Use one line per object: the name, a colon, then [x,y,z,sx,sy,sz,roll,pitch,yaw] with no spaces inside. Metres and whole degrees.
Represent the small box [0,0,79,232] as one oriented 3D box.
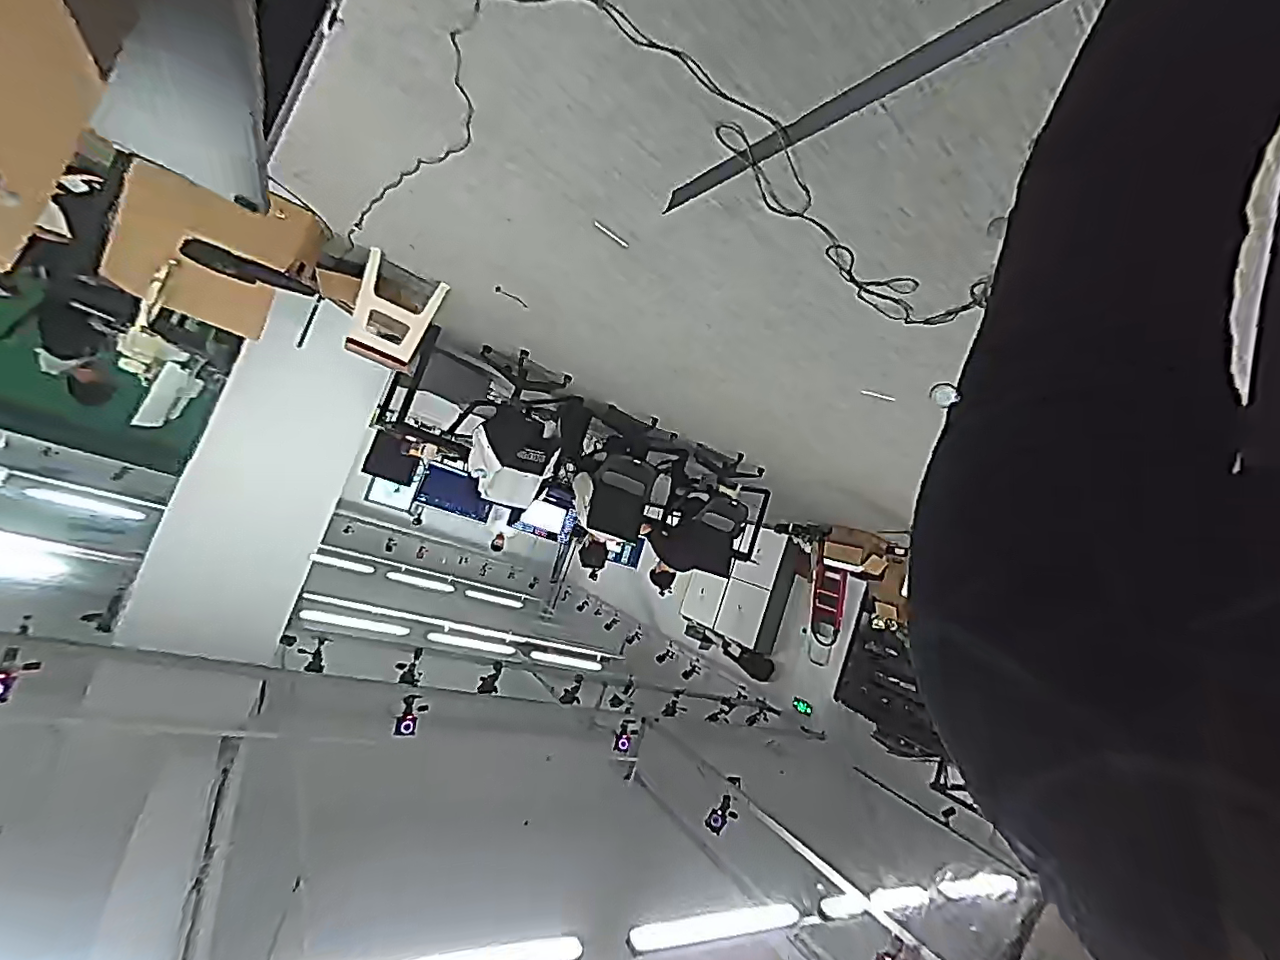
small box: [-0.455,-0.244,0.284,0.168,0.176,0.179,22,172,-33]
